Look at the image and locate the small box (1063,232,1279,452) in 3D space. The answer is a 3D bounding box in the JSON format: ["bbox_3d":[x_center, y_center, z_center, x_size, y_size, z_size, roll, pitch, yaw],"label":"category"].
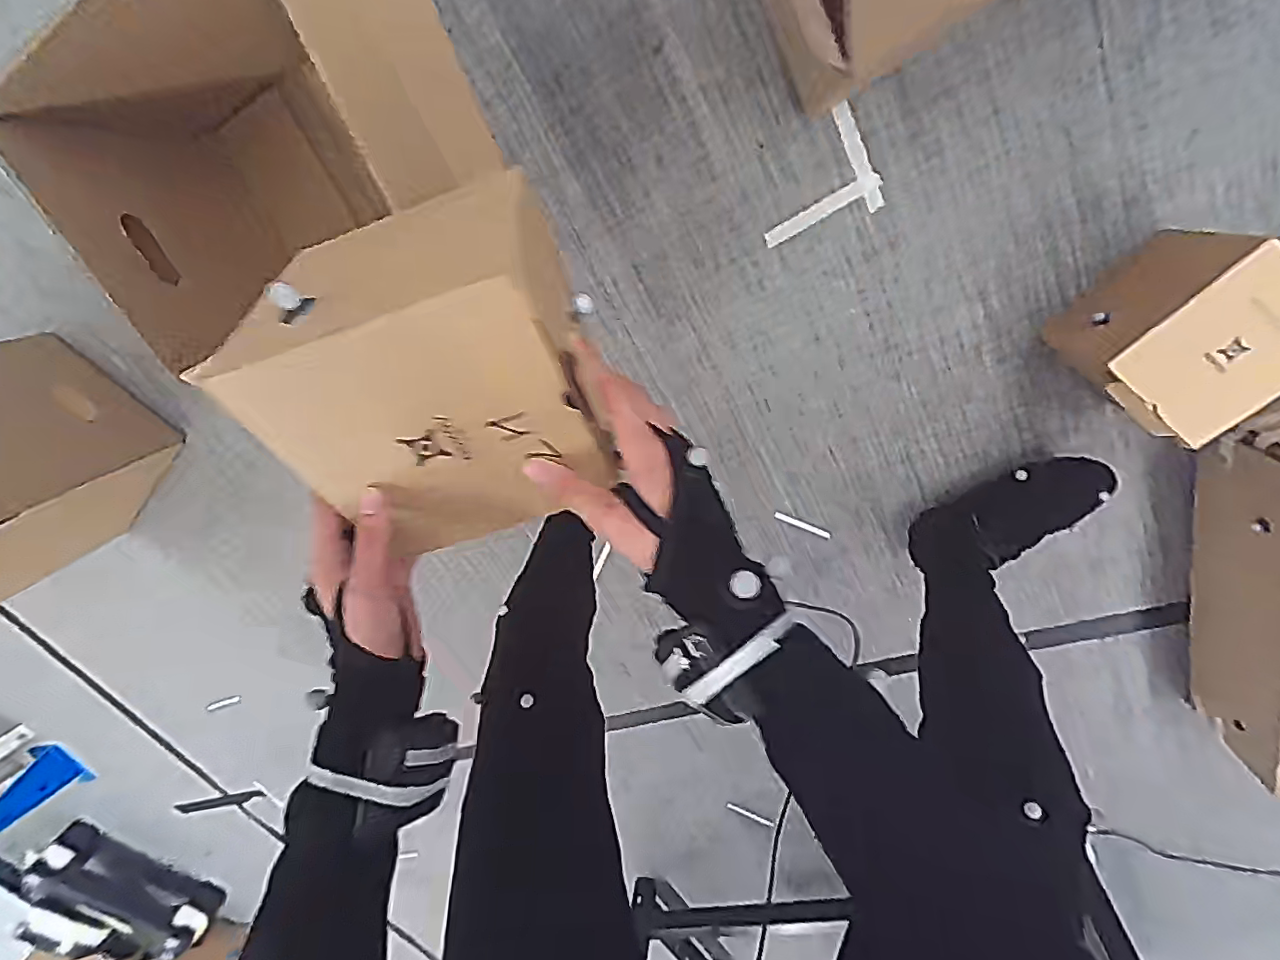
[{"bbox_3d":[0.667,-0.172,0.657,0.168,0.176,0.179,38,118,-10],"label":"small box"}]
